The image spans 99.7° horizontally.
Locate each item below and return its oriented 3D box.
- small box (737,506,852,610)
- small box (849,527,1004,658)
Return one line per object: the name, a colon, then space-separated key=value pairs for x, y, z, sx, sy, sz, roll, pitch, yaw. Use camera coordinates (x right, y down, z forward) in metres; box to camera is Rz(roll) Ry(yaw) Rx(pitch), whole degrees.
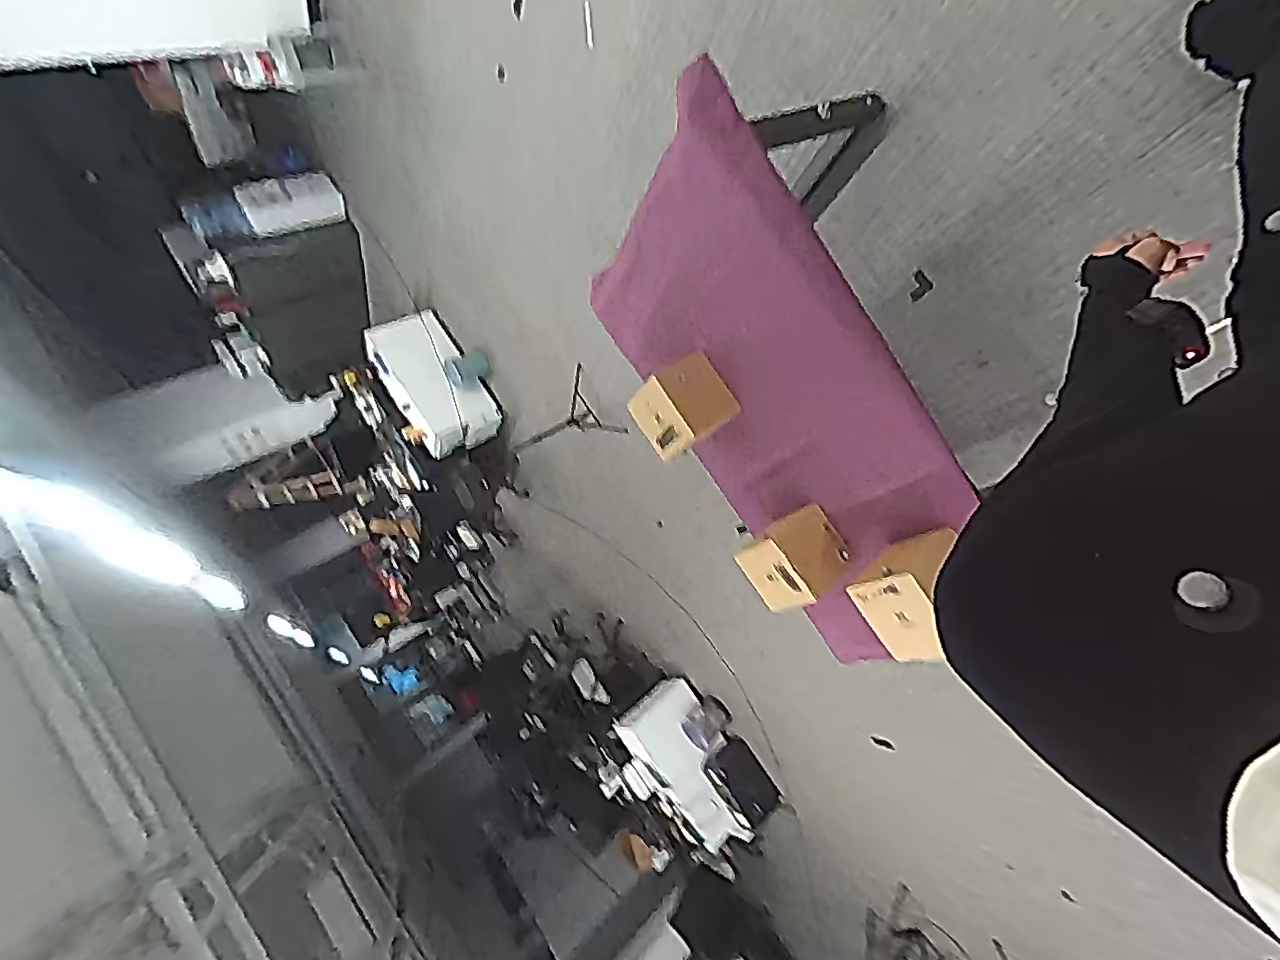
small box: x=0.375 y=0.184 z=1.292 sx=0.168 sy=0.176 sz=0.179 roll=55 pitch=151 yaw=6
small box: x=0.555 y=0.219 z=1.049 sx=0.179 sy=0.176 sz=0.168 roll=55 pitch=150 yaw=4
